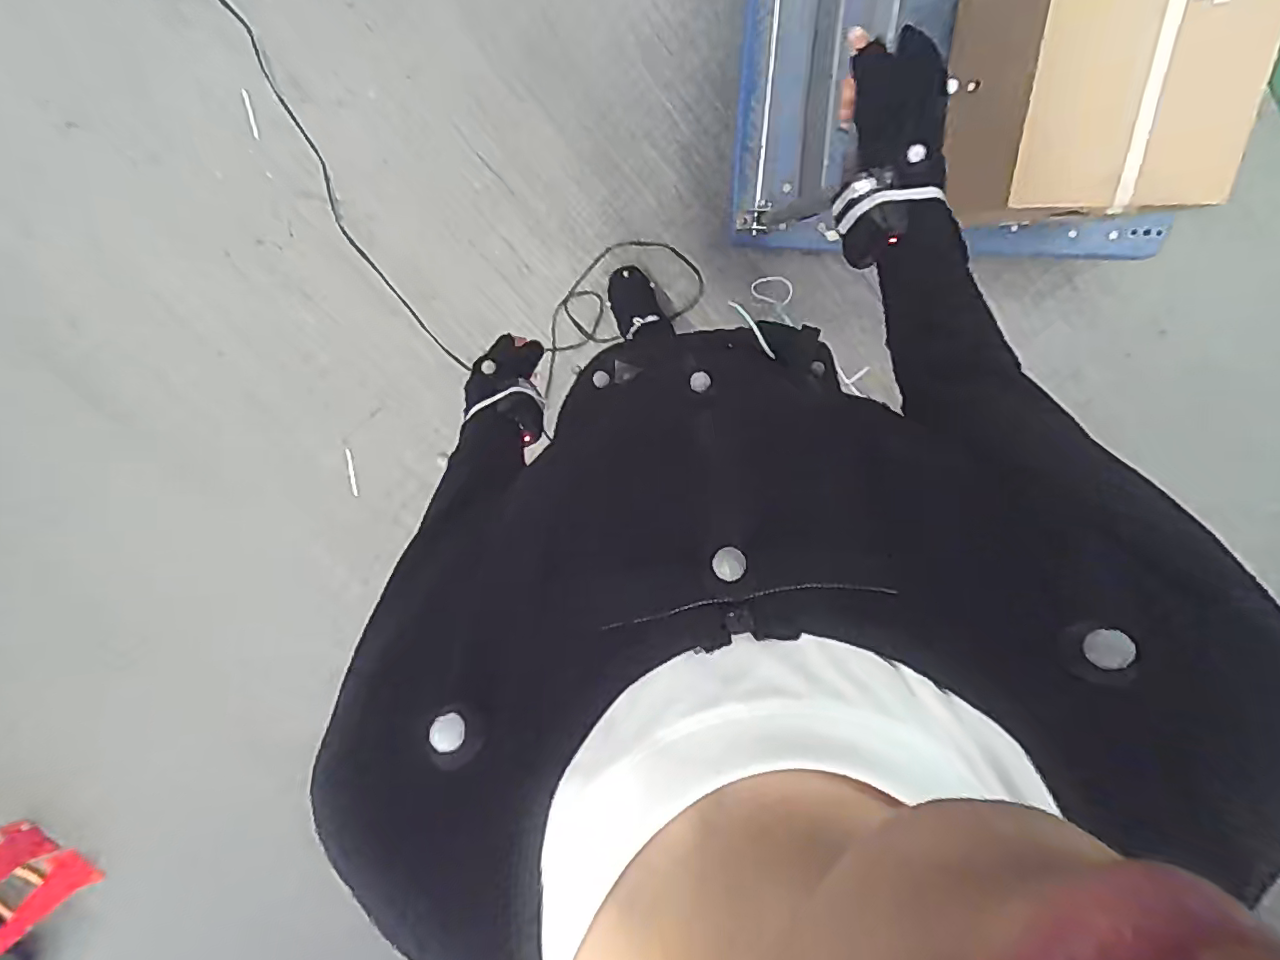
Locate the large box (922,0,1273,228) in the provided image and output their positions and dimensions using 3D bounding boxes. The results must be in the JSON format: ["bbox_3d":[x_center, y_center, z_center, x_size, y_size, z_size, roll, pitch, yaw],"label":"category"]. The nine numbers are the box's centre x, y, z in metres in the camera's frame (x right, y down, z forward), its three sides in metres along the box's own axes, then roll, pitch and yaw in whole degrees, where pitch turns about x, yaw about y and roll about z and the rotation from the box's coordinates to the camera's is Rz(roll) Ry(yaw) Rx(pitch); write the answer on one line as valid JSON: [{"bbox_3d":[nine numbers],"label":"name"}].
[{"bbox_3d":[0.706,-0.651,0.887,0.320,0.320,0.408,1,109,3],"label":"large box"}]
